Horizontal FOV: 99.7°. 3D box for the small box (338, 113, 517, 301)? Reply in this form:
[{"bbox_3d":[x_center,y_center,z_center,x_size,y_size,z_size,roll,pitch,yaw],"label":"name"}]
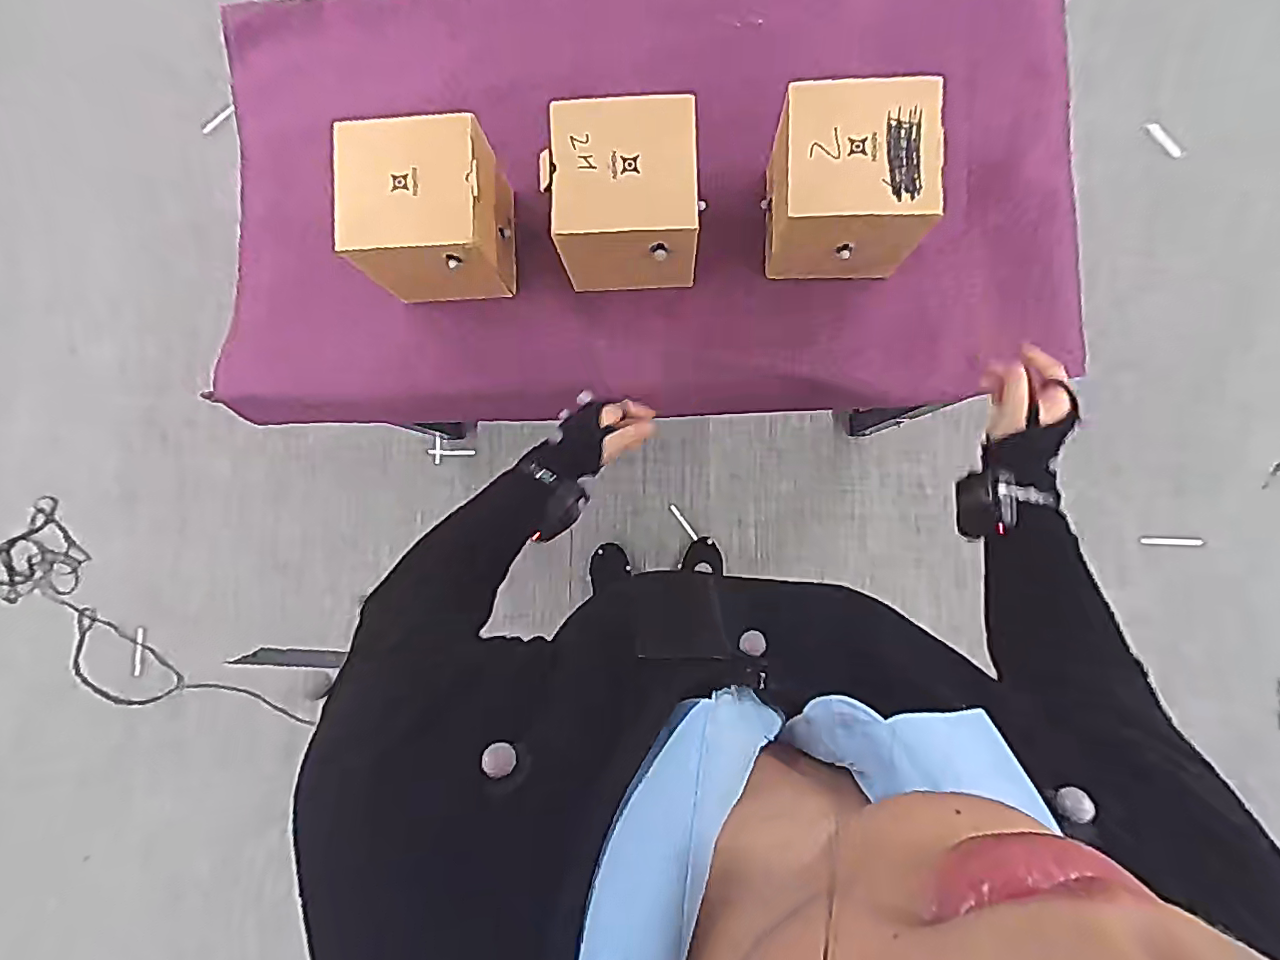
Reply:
[{"bbox_3d":[-0.277,-0.354,0.733,0.179,0.176,0.168,-3,87,2],"label":"small box"}]

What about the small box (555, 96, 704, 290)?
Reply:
[{"bbox_3d":[-0.010,-0.366,0.716,0.179,0.176,0.168,-1,86,4],"label":"small box"}]
